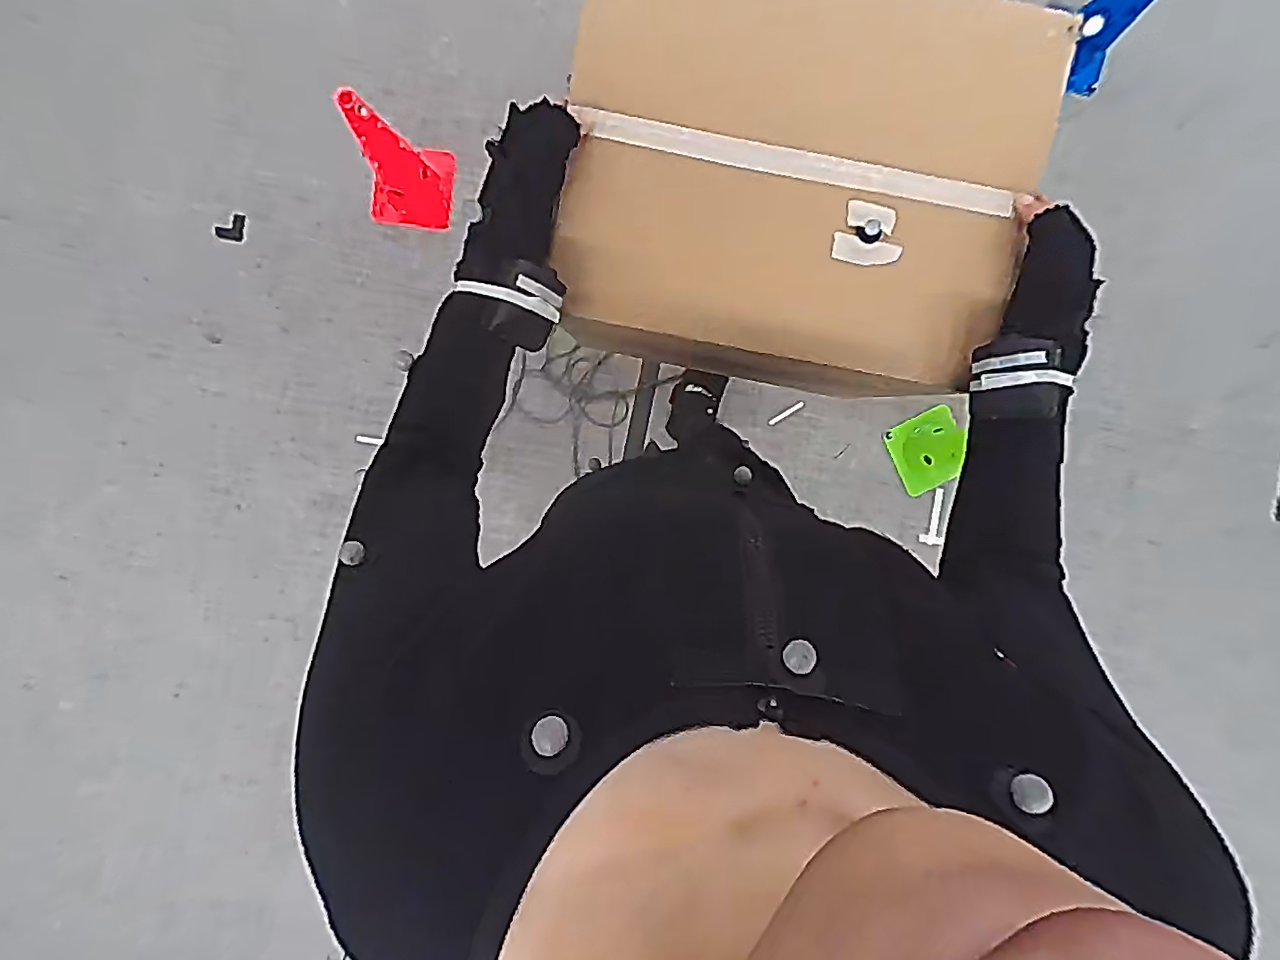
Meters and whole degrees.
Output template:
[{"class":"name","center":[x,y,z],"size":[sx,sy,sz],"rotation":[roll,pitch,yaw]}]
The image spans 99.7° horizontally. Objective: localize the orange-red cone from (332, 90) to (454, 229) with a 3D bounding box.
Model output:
[{"class":"orange-red cone","center":[-0.579,-0.743,1.217],"size":[0.198,0.360,0.199],"rotation":[8,94,-2]}]

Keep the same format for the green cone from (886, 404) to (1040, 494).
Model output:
[{"class":"green cone","center":[0.804,-0.076,1.310],"size":[0.202,0.368,0.200],"rotation":[-27,94,-2]}]

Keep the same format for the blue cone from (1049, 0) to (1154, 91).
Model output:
[{"class":"blue cone","center":[1.162,-1.150,1.289],"size":[0.192,0.380,0.193],"rotation":[14,92,-4]}]

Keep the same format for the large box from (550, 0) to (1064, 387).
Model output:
[{"class":"large box","center":[0.134,-0.296,0.612],"size":[0.408,0.320,0.320],"rotation":[10,98,-2]}]
